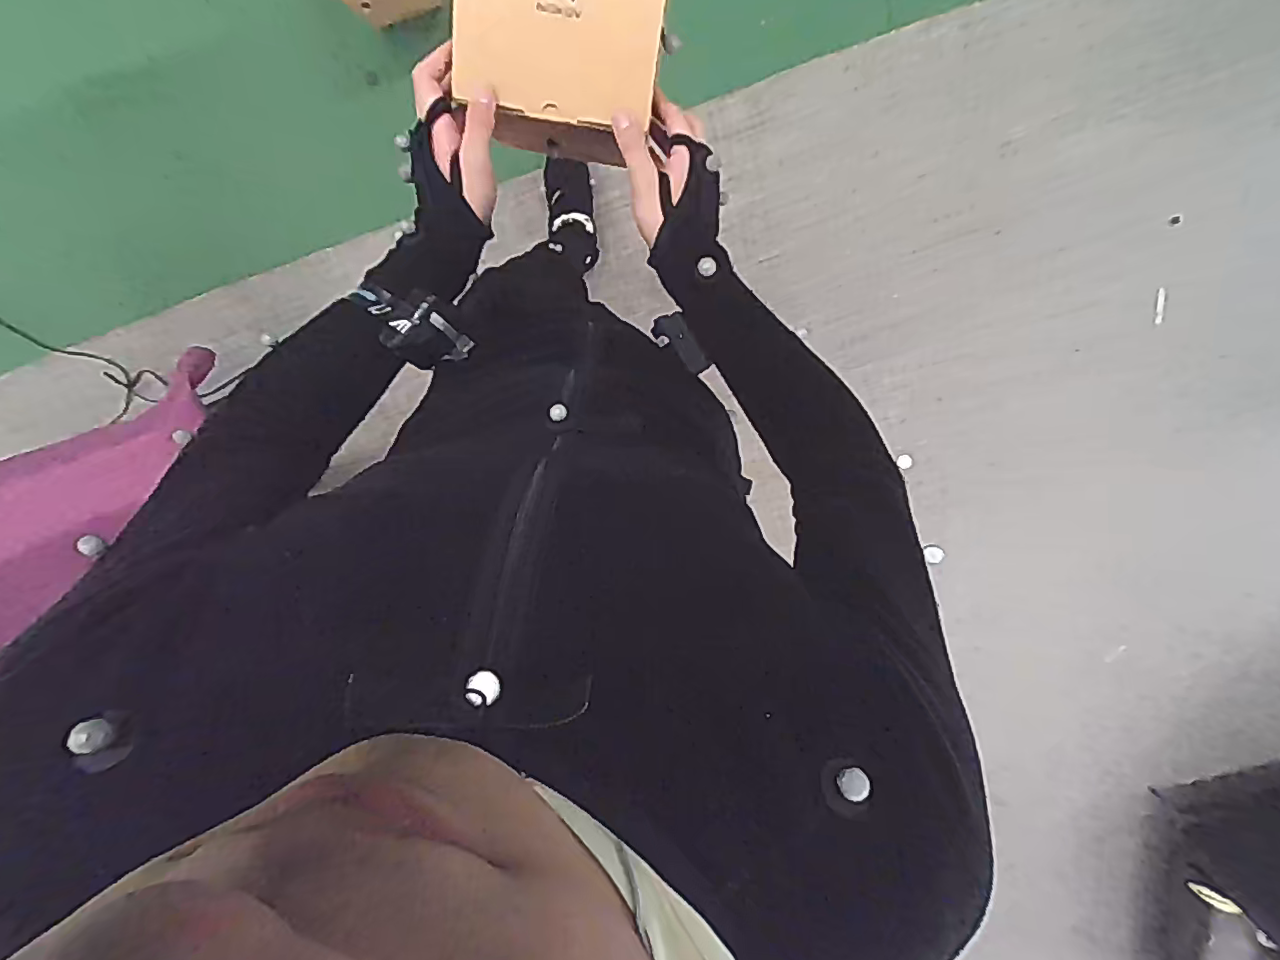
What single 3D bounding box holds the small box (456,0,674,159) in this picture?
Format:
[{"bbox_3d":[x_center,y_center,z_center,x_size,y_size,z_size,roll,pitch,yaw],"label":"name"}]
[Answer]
[{"bbox_3d":[-0.057,-0.413,0.486,0.168,0.176,0.179,8,112,-4],"label":"small box"}]
